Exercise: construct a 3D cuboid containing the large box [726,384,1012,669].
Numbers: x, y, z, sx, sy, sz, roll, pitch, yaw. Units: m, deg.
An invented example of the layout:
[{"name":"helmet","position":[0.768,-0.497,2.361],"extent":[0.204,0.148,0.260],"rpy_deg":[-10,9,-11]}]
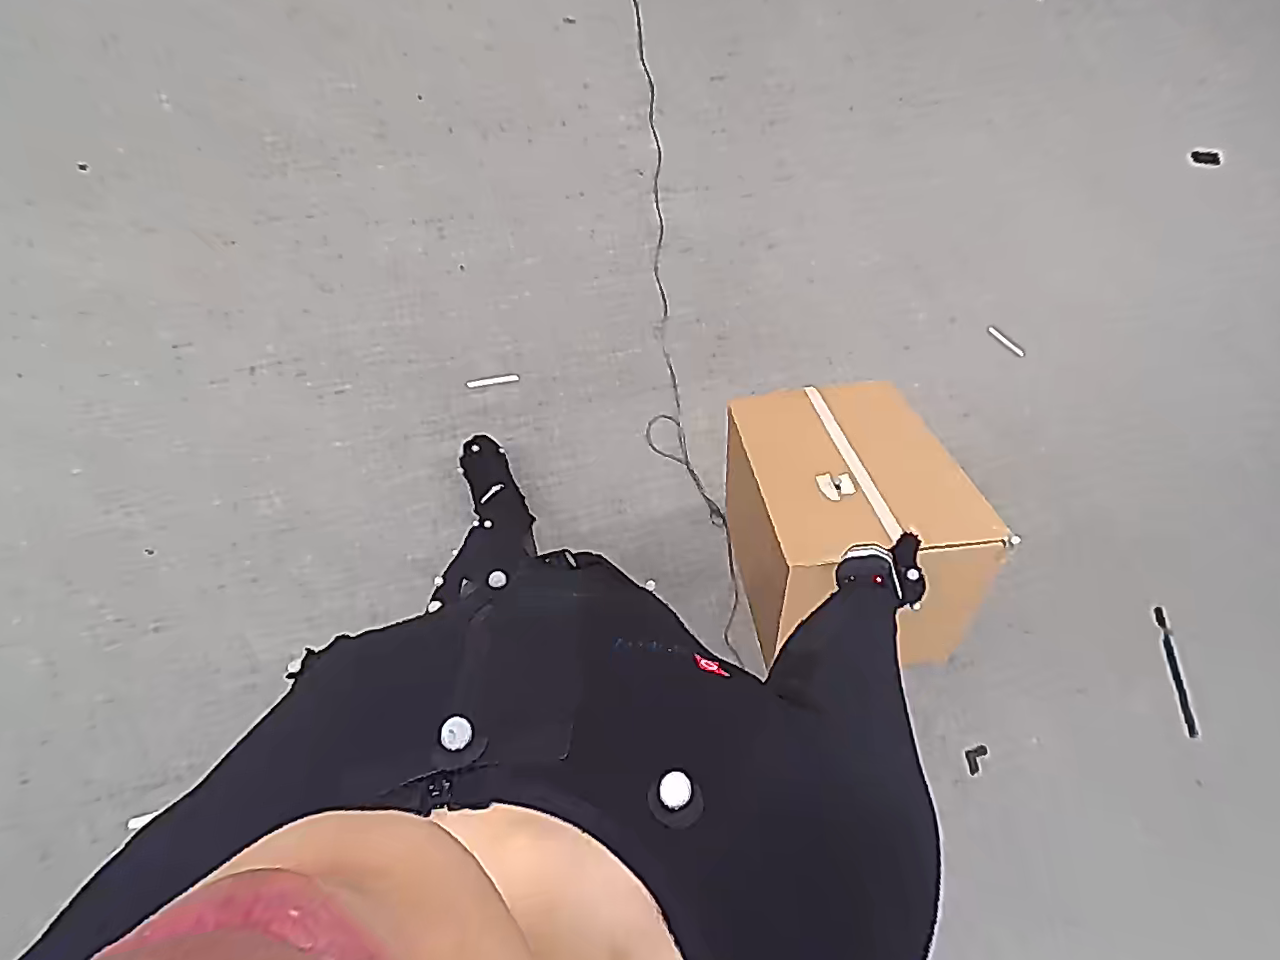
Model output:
[{"name":"large box","position":[0.353,0.074,0.987],"extent":[0.320,0.320,0.408],"rpy_deg":[-7,44,0]}]
